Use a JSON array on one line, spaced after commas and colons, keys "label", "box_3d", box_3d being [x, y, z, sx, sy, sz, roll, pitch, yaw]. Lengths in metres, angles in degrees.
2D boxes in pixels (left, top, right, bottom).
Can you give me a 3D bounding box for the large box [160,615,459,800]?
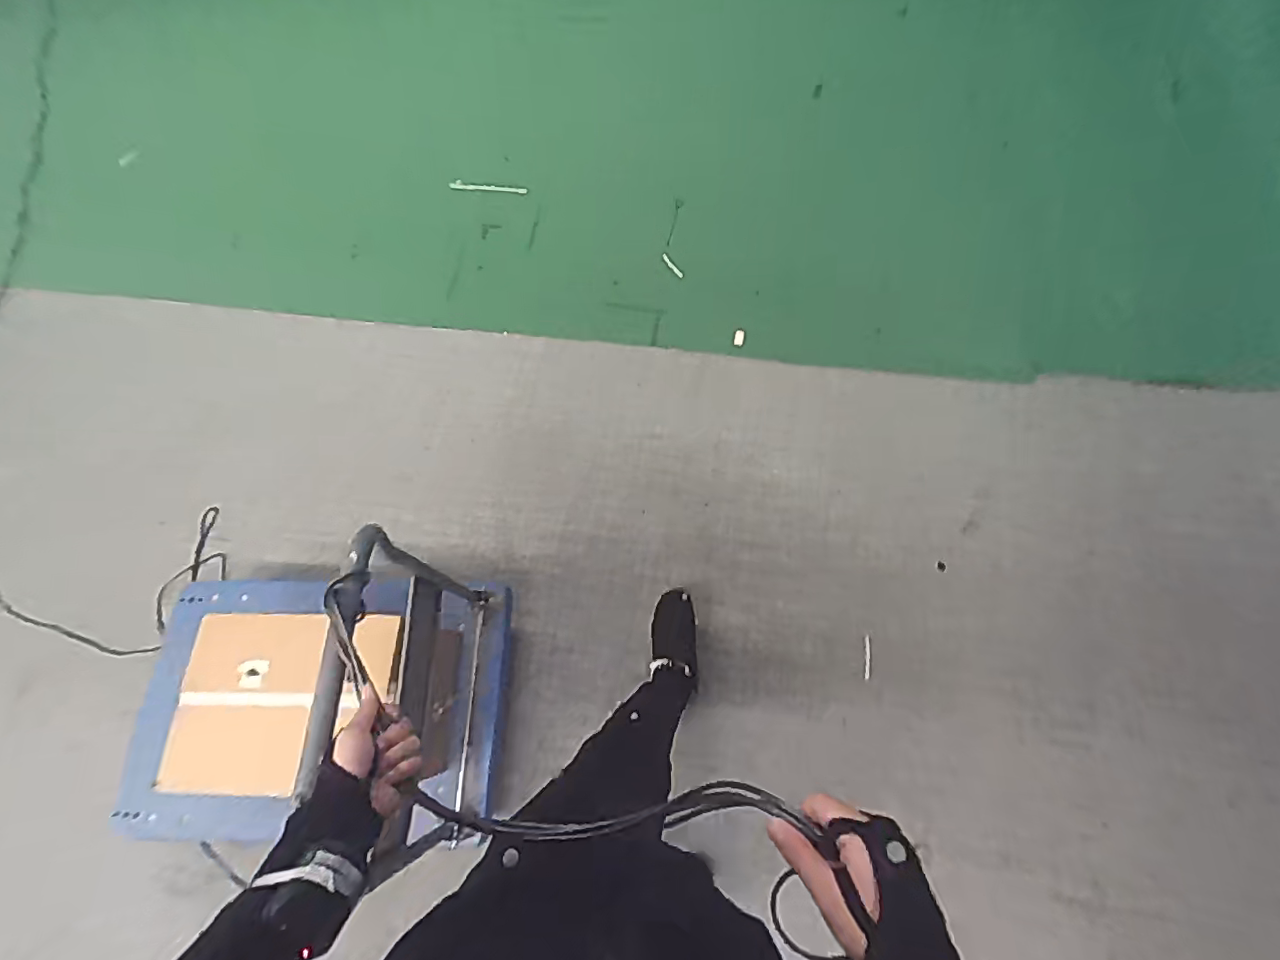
[{"label": "large box", "box_3d": [-0.640, 0.460, 1.131, 0.408, 0.320, 0.320, -1, 68, 5]}]
